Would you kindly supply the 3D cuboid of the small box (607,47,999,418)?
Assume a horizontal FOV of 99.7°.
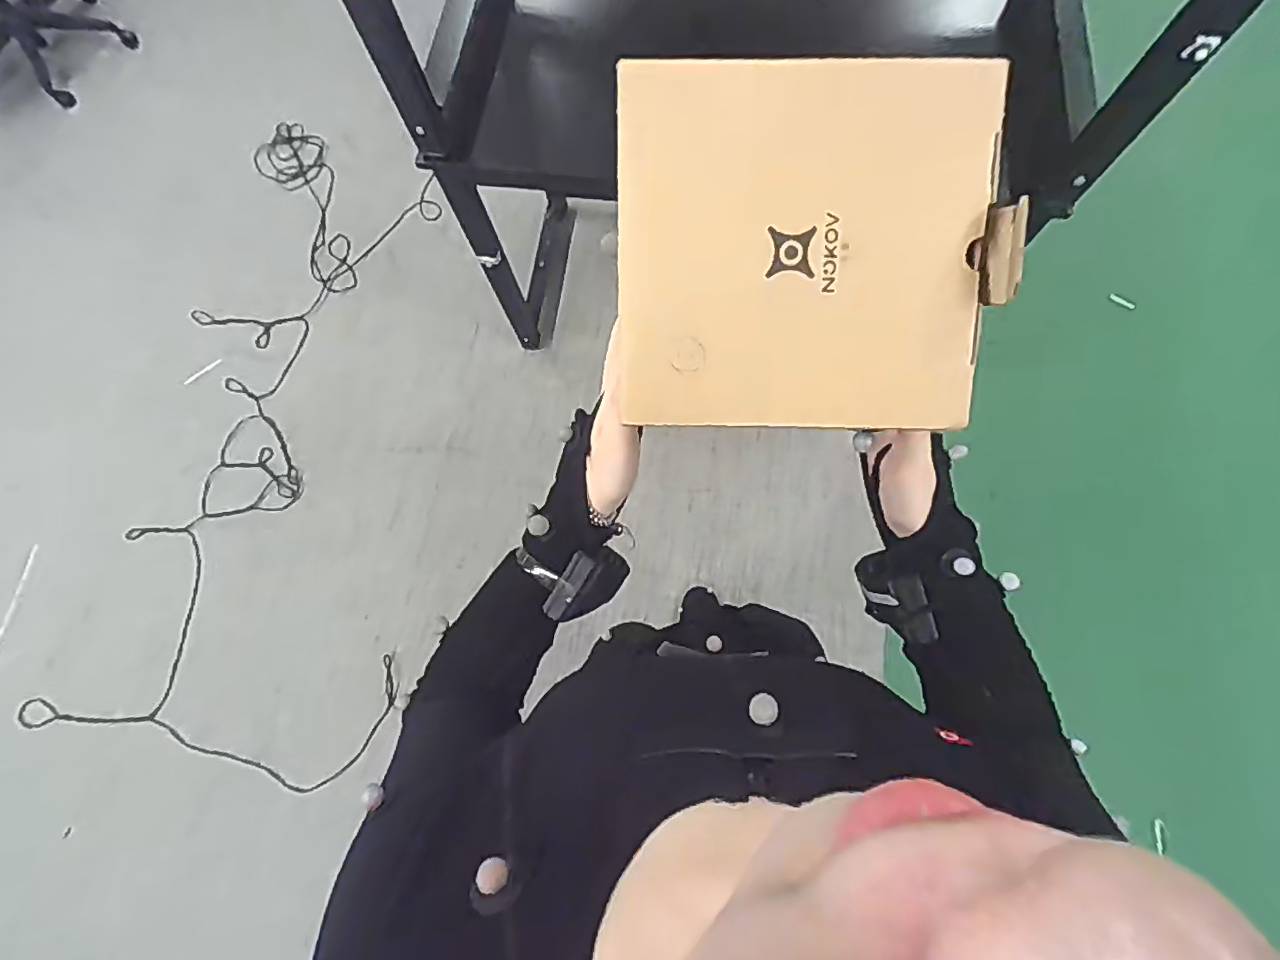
[{"bbox_3d":[0.075,-0.125,0.334,0.179,0.176,0.168,0,100,1],"label":"small box"}]
